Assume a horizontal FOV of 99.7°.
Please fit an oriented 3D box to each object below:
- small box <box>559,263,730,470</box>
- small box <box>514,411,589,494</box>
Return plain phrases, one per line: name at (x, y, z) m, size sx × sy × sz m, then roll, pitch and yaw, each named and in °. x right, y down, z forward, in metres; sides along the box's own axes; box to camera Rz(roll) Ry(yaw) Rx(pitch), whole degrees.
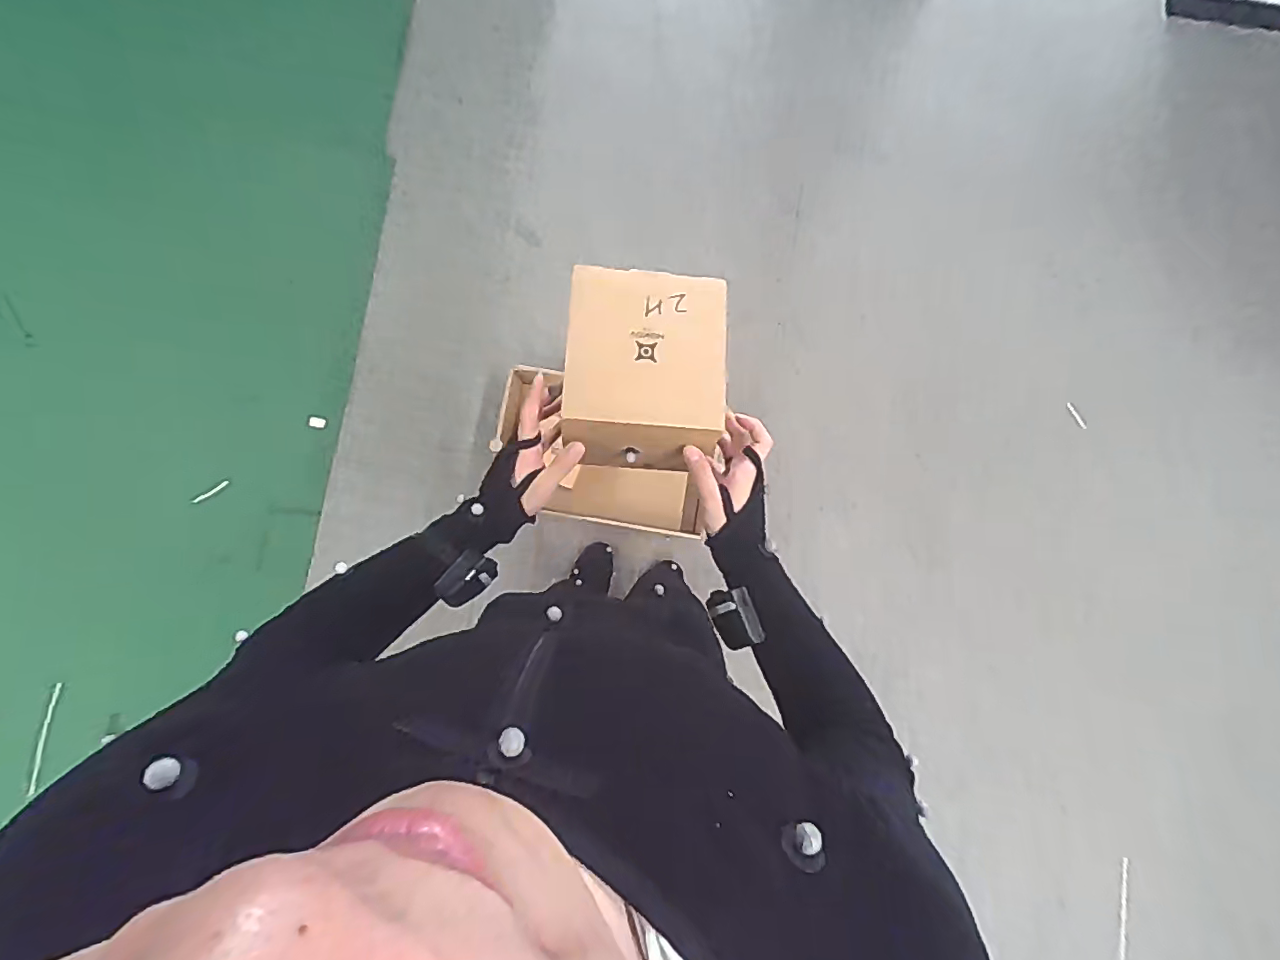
small box at (0.001, -0.116, 0.620) m, size 0.168 × 0.176 × 0.179 m, roll 5°, pitch 76°, yaw -5°
small box at (-0.235, -0.070, 1.537) m, size 0.168 × 0.176 × 0.179 m, roll 21°, pitch 83°, yaw 0°
